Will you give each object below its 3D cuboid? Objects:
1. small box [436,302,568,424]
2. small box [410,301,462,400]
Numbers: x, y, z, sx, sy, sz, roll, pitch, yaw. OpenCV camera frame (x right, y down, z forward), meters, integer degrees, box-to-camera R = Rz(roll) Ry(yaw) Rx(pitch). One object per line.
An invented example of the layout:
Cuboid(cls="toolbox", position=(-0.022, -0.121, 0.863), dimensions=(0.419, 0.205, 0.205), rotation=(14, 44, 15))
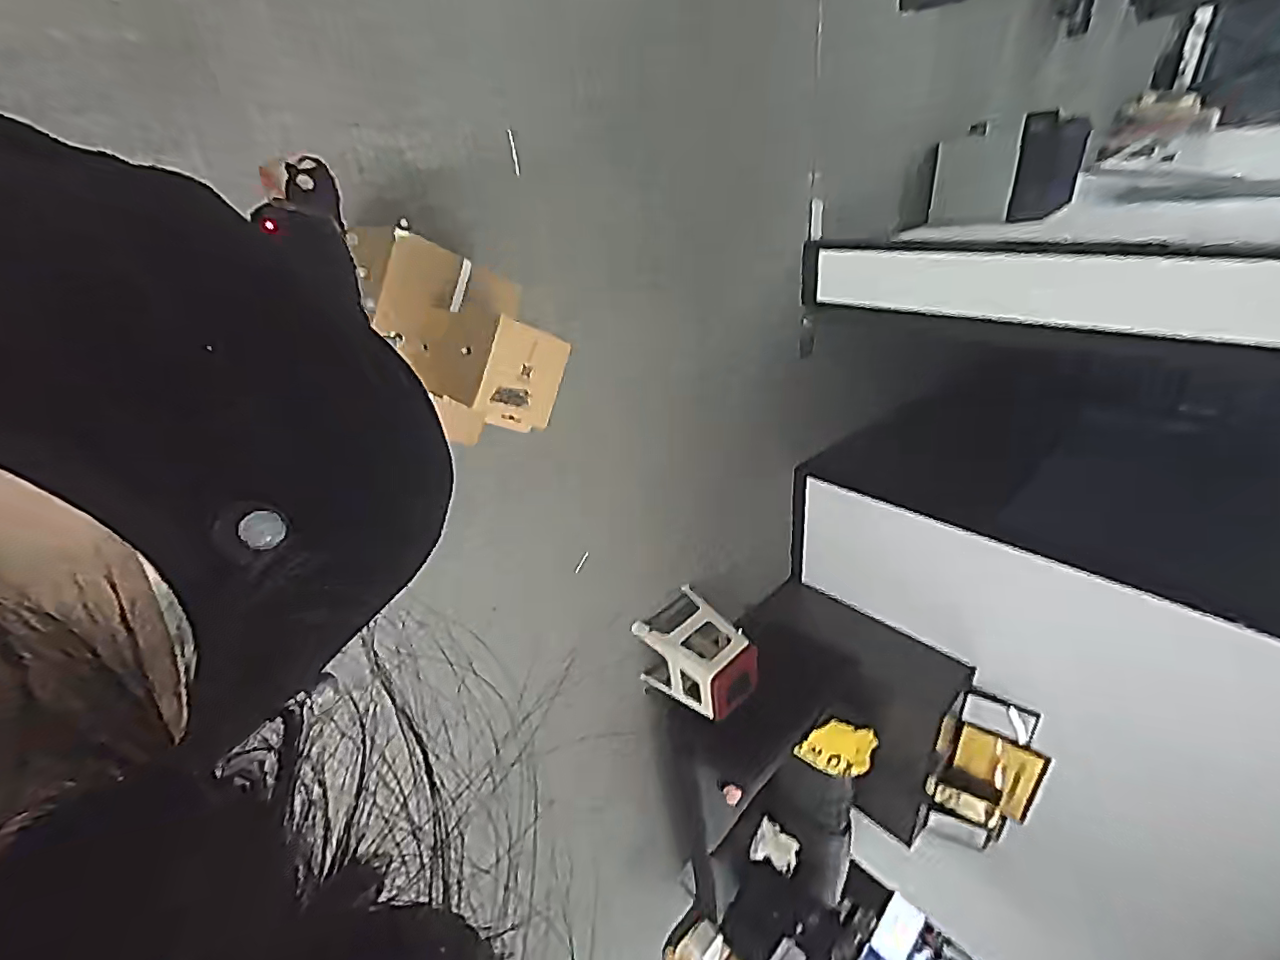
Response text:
Cuboid(cls="small box", position=(-0.274, -0.229, 1.054), dimensions=(0.168, 0.176, 0.179), rotation=(13, 98, -48))
Cuboid(cls="small box", position=(-0.378, -0.272, 1.176), dimensions=(0.168, 0.176, 0.179), rotation=(6, 105, -48))
